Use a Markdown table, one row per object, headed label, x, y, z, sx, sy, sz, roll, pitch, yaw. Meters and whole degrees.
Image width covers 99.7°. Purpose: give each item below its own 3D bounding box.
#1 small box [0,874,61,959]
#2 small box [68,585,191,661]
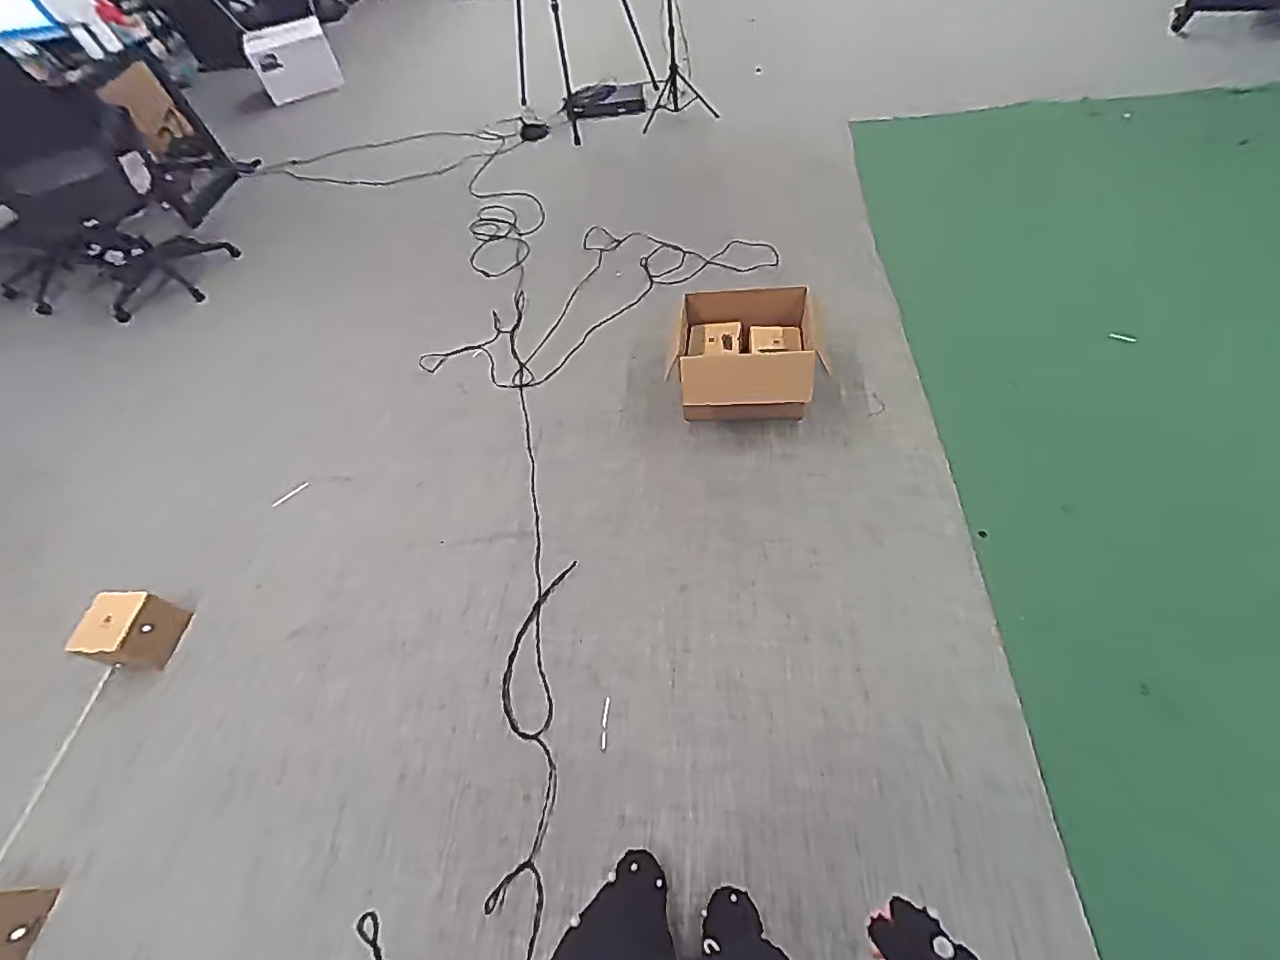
| label | x | y | z | sx | sy | sz | roll | pitch | yaw |
| --- | --- | --- | --- | --- | --- | --- | --- | --- | --- |
| small box | -1.498 | 0.995 | 1.215 | 0.179 | 0.176 | 0.168 | -2 | 57 | 7 |
| small box | -1.484 | 0.422 | 1.591 | 0.168 | 0.176 | 0.179 | -1 | 57 | 7 |
